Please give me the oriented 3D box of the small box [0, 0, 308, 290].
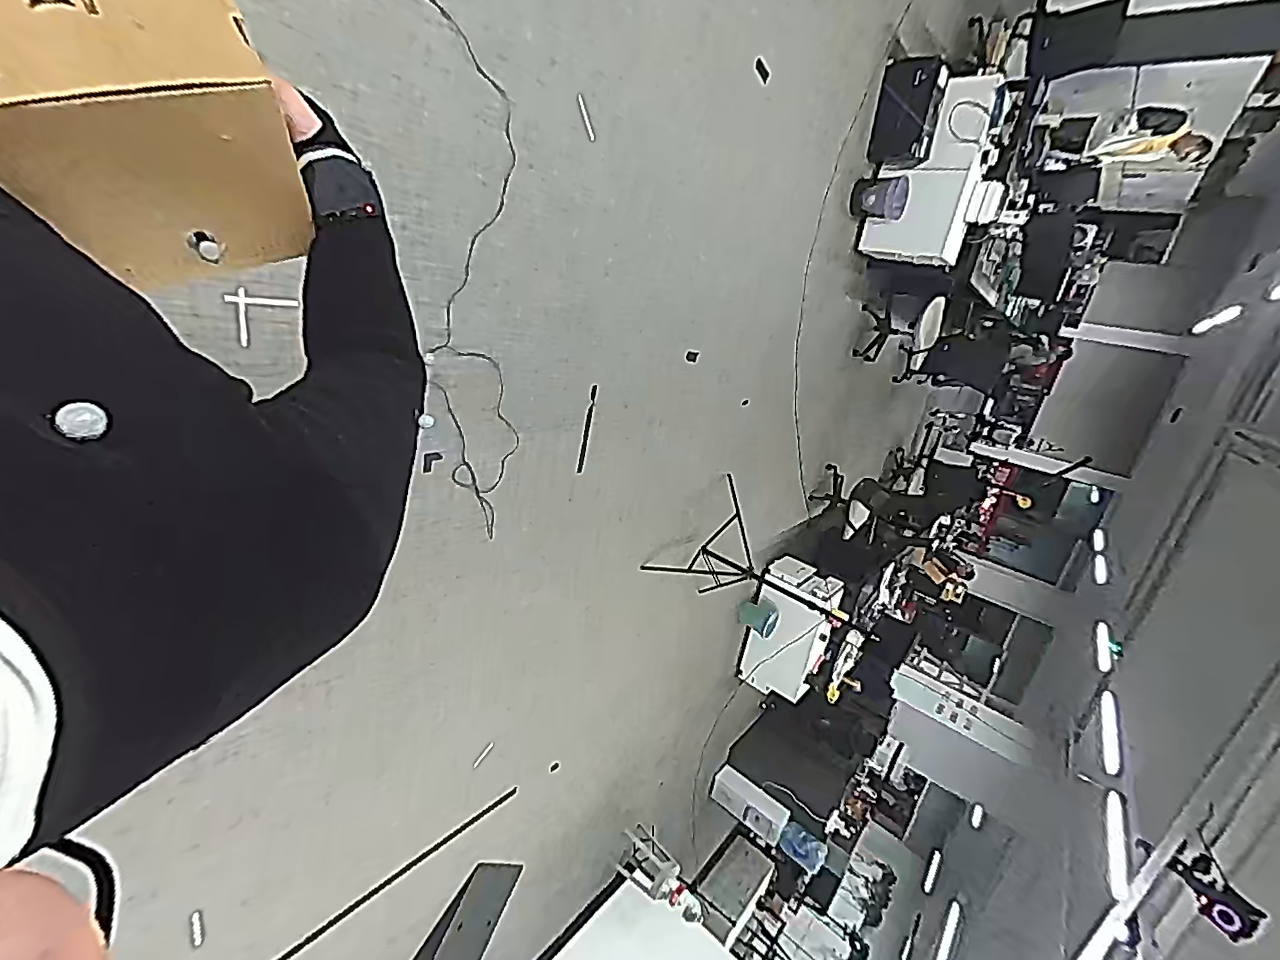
[{"bbox_3d":[-0.394,-0.284,0.432,0.179,0.168,0.176,-28,172,-26],"label":"small box"}]
